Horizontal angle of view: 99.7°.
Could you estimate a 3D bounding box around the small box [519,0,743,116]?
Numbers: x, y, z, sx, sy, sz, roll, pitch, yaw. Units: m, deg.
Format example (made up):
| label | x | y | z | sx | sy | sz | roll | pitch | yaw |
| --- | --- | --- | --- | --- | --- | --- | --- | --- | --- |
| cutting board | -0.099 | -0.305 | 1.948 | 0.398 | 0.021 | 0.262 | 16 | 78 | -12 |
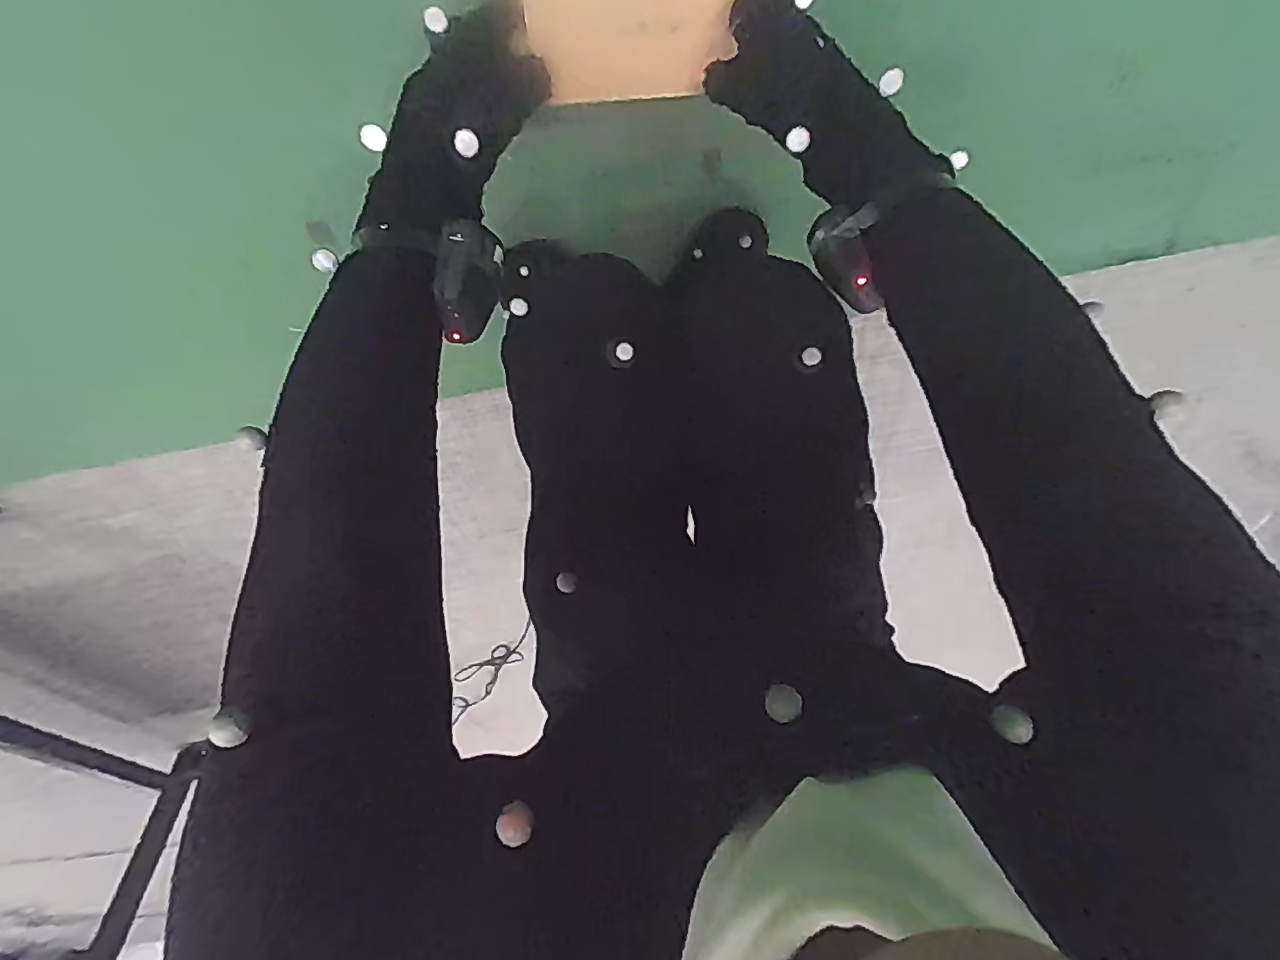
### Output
| label | x | y | z | sx | sy | sz | roll | pitch | yaw |
| --- | --- | --- | --- | --- | --- | --- | --- | --- | --- |
| small box | -0.018 | -0.425 | 0.441 | 0.168 | 0.176 | 0.179 | -9 | 138 | -6 |
